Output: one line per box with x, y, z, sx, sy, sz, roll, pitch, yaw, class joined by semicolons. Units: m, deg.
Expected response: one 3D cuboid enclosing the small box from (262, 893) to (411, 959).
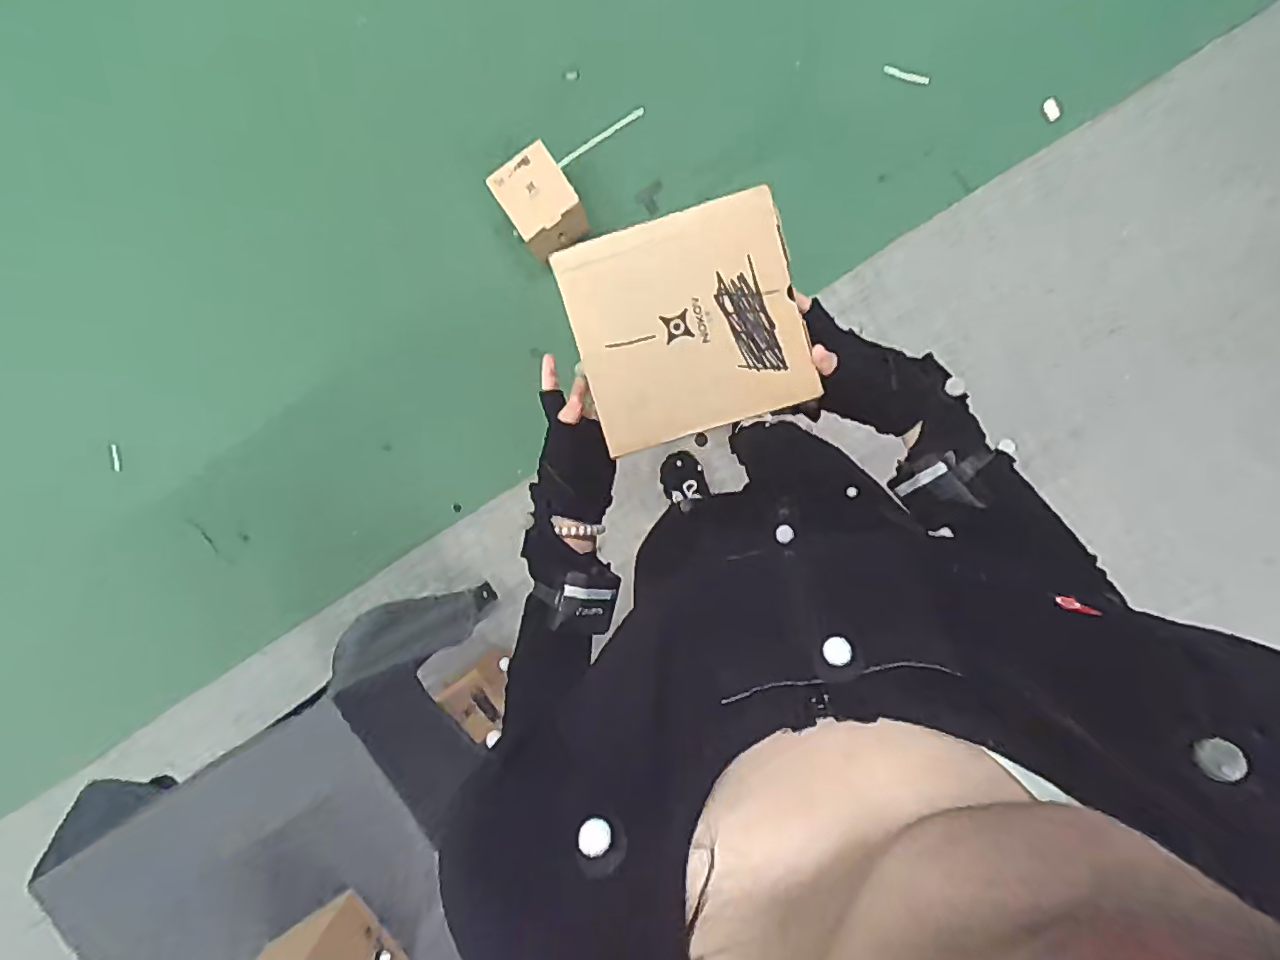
-0.461;0.745;0.758;0.179;0.176;0.168;-35;93;5;small box

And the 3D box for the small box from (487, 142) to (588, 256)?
-0.247;-0.690;1.359;0.168;0.176;0.179;-33;93;5;small box

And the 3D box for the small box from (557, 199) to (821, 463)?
0.039;-0.122;0.498;0.179;0.176;0.168;-16;95;3;small box
